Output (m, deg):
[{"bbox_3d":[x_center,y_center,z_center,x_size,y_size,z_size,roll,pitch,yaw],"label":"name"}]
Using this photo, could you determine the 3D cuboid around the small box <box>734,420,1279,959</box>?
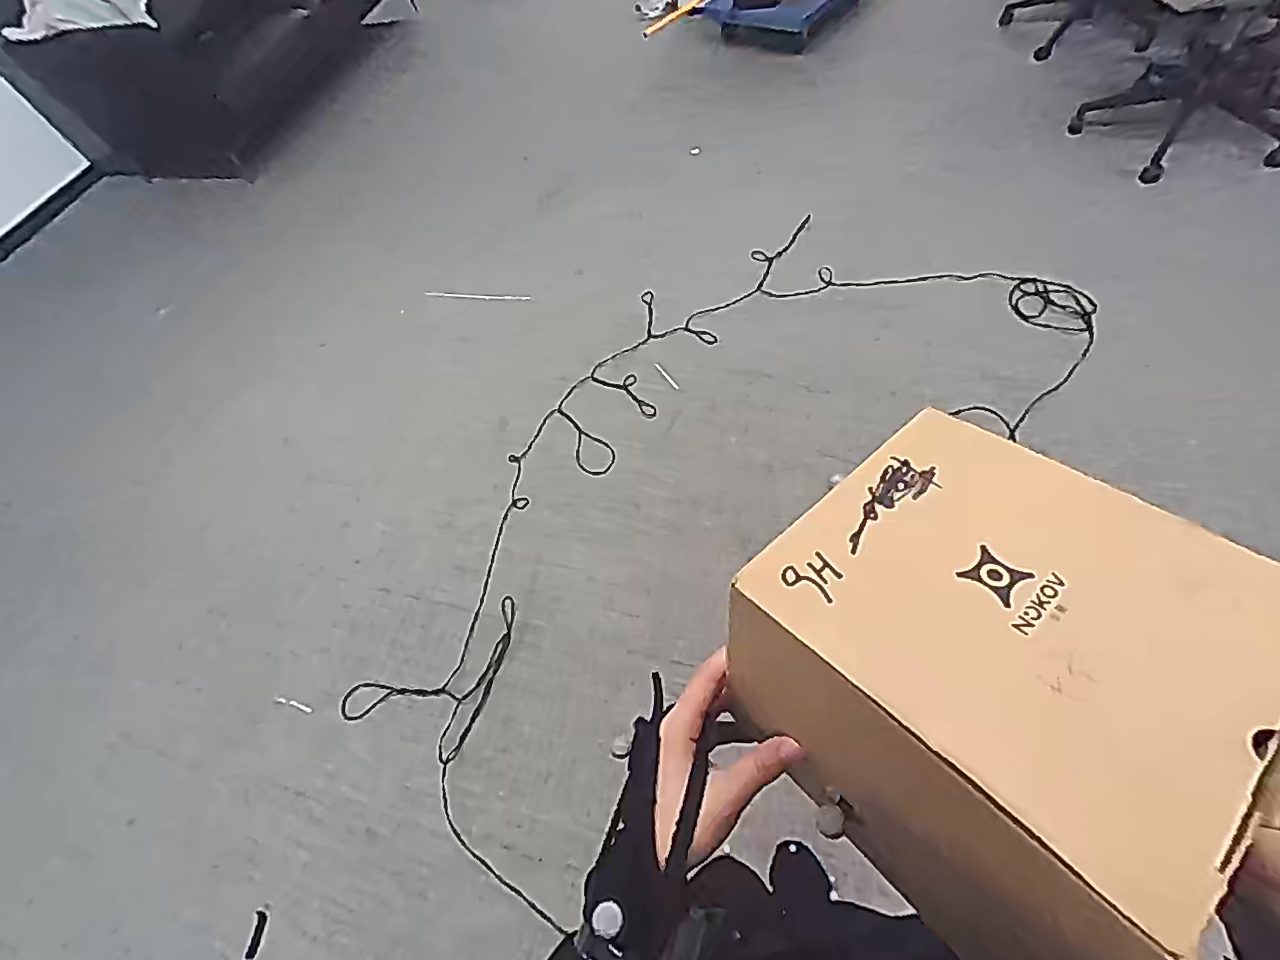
[{"bbox_3d":[0.169,0.106,0.290,0.168,0.176,0.179,-34,53,-21],"label":"small box"}]
